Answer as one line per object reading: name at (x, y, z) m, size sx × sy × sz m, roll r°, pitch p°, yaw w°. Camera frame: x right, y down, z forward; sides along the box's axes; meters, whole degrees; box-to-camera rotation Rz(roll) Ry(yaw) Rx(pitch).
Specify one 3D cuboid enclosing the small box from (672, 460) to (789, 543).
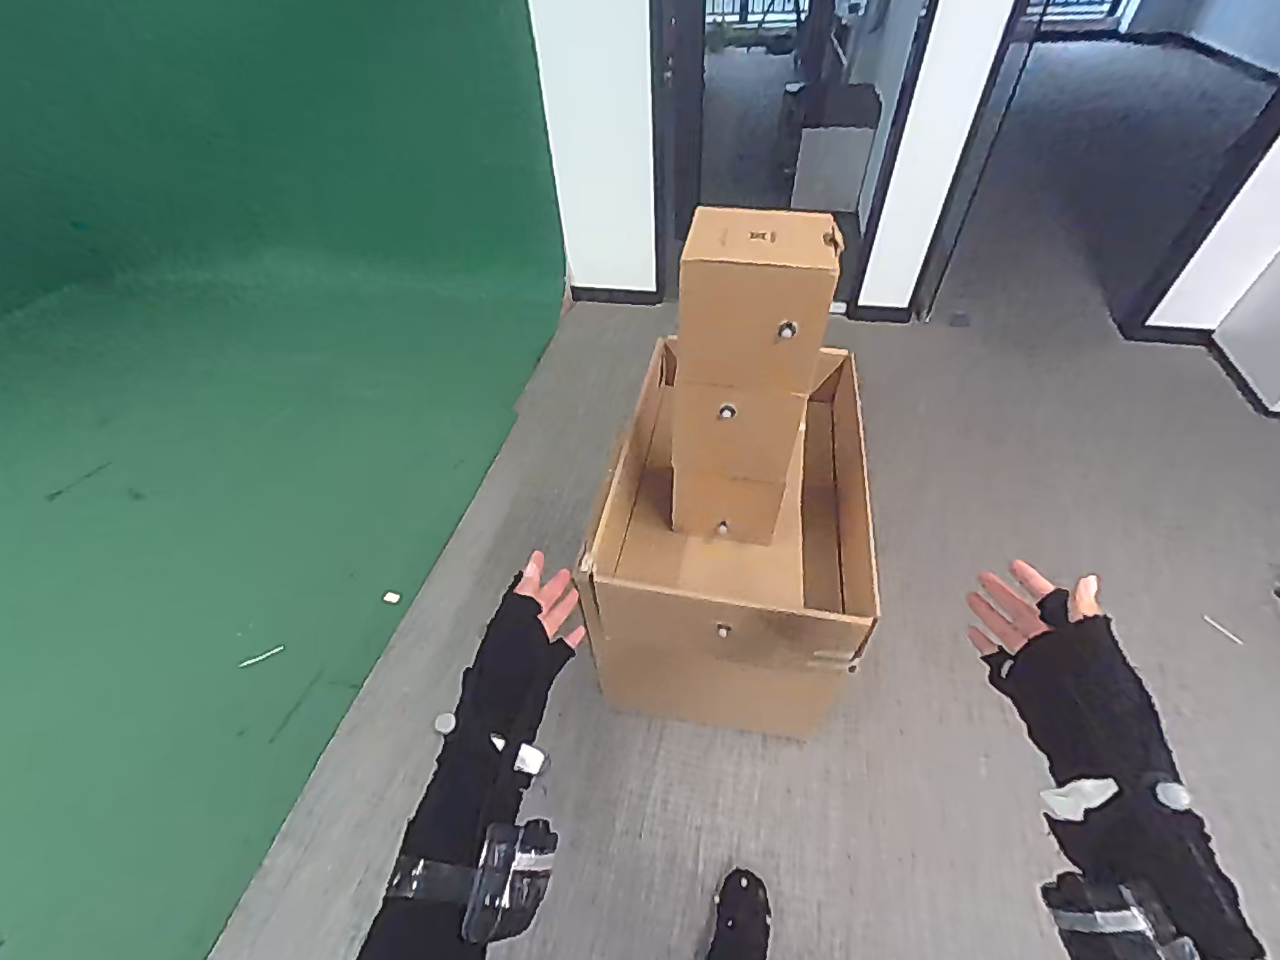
small box at (0.156, -0.010, 0.943) m, size 0.179 × 0.176 × 0.168 m, roll 8°, pitch 46°, yaw 8°

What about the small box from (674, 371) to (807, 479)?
small box at (0.152, -0.121, 0.822) m, size 0.179 × 0.176 × 0.168 m, roll 10°, pitch 47°, yaw 10°

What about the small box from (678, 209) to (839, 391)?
small box at (0.148, -0.233, 0.705) m, size 0.179 × 0.176 × 0.168 m, roll 6°, pitch 45°, yaw 9°
